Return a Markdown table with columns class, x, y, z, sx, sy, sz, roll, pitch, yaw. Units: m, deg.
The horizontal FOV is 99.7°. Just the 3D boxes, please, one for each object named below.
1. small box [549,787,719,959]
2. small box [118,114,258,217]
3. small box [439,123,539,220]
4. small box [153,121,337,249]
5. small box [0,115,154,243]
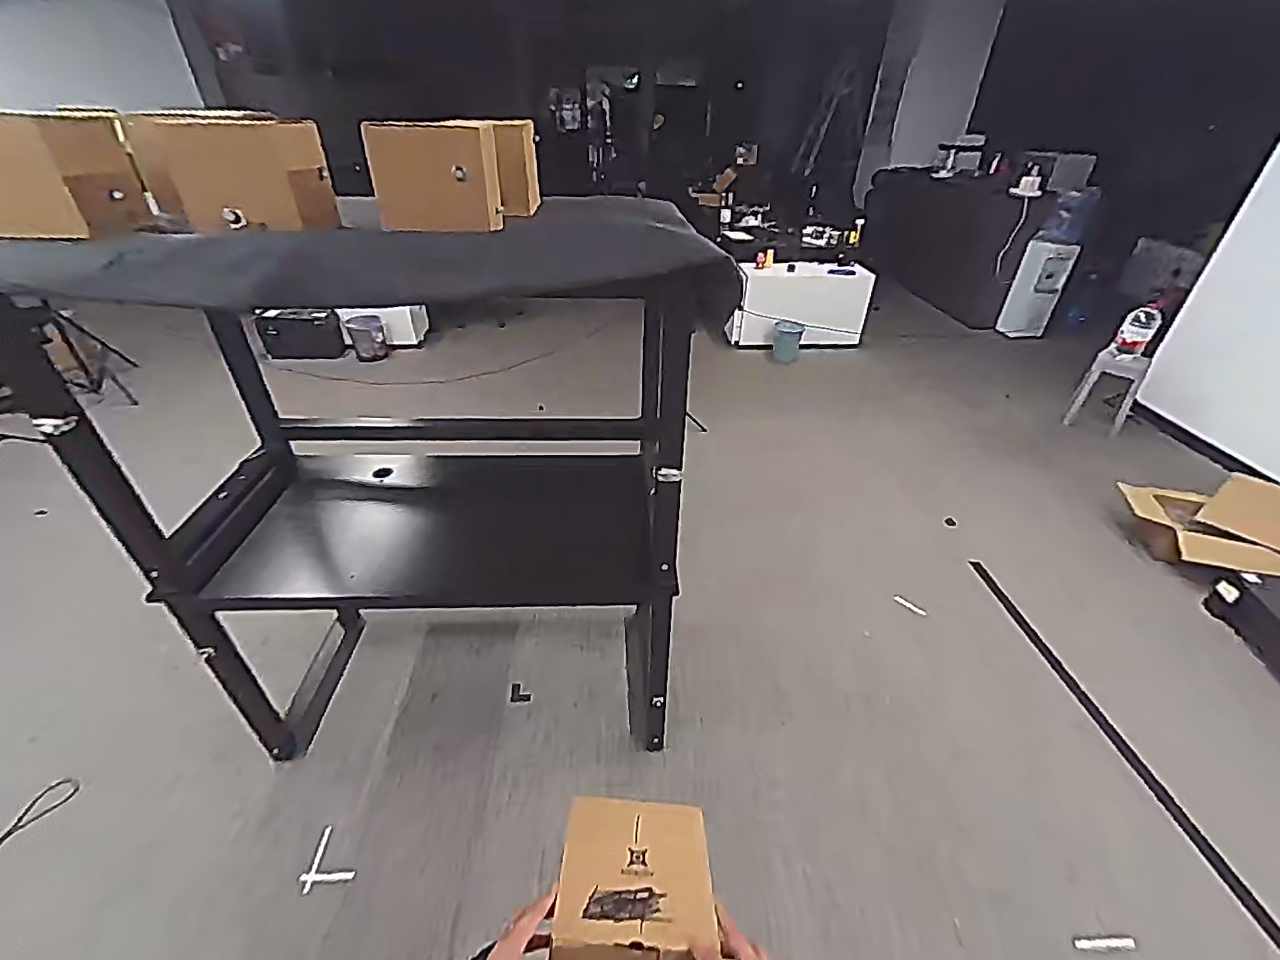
| class | x | y | z | sx | sy | sz | roll | pitch | yaw |
| --- | --- | --- | --- | --- | --- | --- | --- | --- | --- |
| small box | -0.011 | 0.490 | 0.612 | 0.168 | 0.176 | 0.179 | 6 | 13 | -1 |
| small box | -0.887 | -0.646 | 1.113 | 0.179 | 0.176 | 0.168 | -1 | 35 | -5 |
| small box | -0.312 | -0.659 | 1.154 | 0.168 | 0.176 | 0.179 | -1 | 35 | -3 |
| small box | -0.627 | -0.486 | 0.891 | 0.168 | 0.176 | 0.179 | -4 | 34 | -6 |
| small box | -0.958 | -0.483 | 0.870 | 0.179 | 0.176 | 0.168 | -2 | 34 | -6 |
